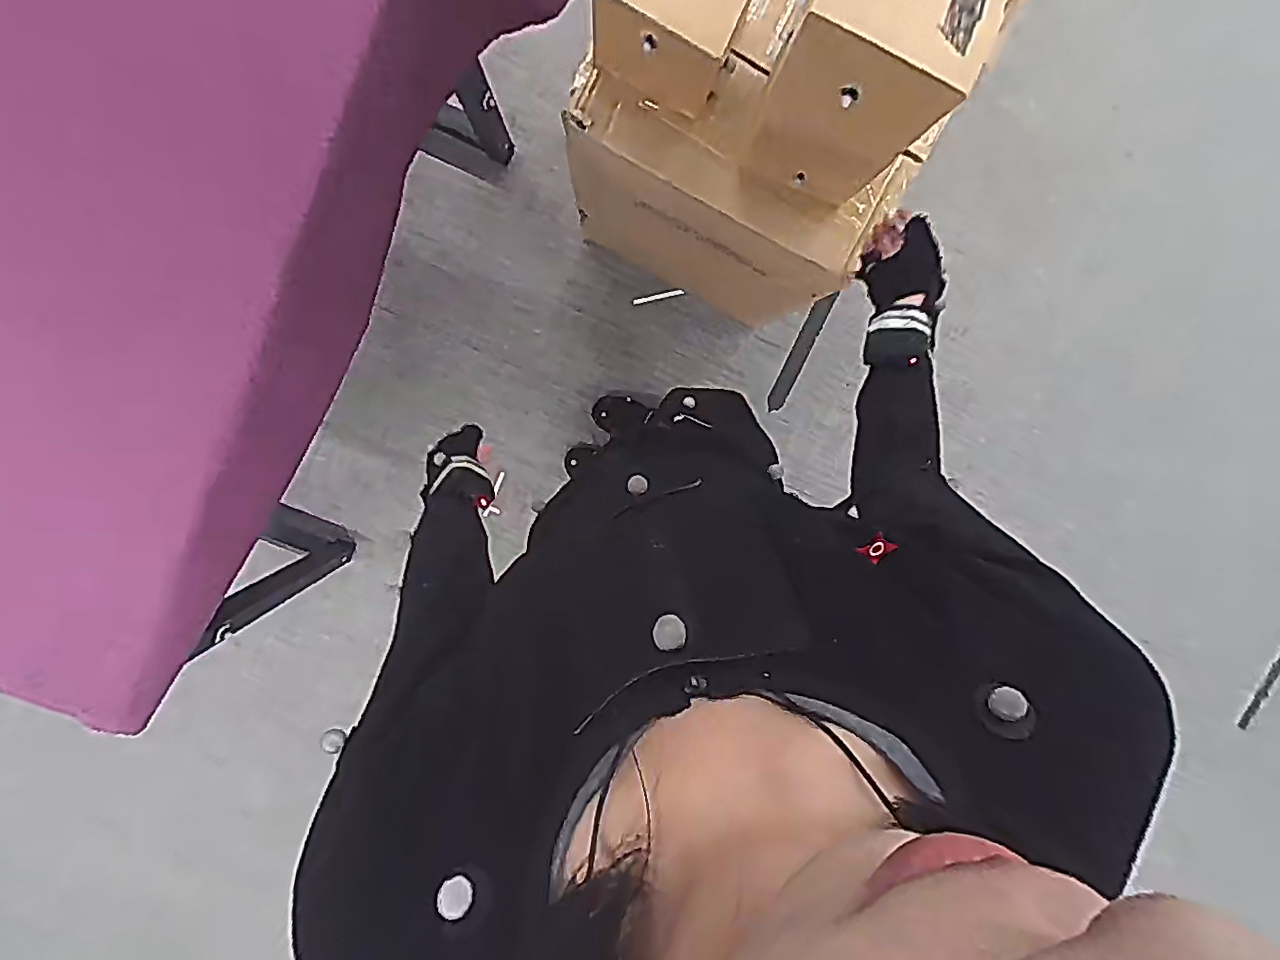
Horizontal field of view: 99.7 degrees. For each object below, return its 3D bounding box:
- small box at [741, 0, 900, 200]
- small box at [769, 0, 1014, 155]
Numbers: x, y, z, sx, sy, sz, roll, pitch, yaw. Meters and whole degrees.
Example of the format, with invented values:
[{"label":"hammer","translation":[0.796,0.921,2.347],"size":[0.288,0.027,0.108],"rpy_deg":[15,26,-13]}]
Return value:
[{"label":"small box","translation":[0.261,-0.512,0.742],"size":[0.179,0.176,0.168],"rpy_deg":[19,97,-5]},{"label":"small box","translation":[0.265,-0.486,0.579],"size":[0.179,0.176,0.168],"rpy_deg":[24,97,-4]}]
